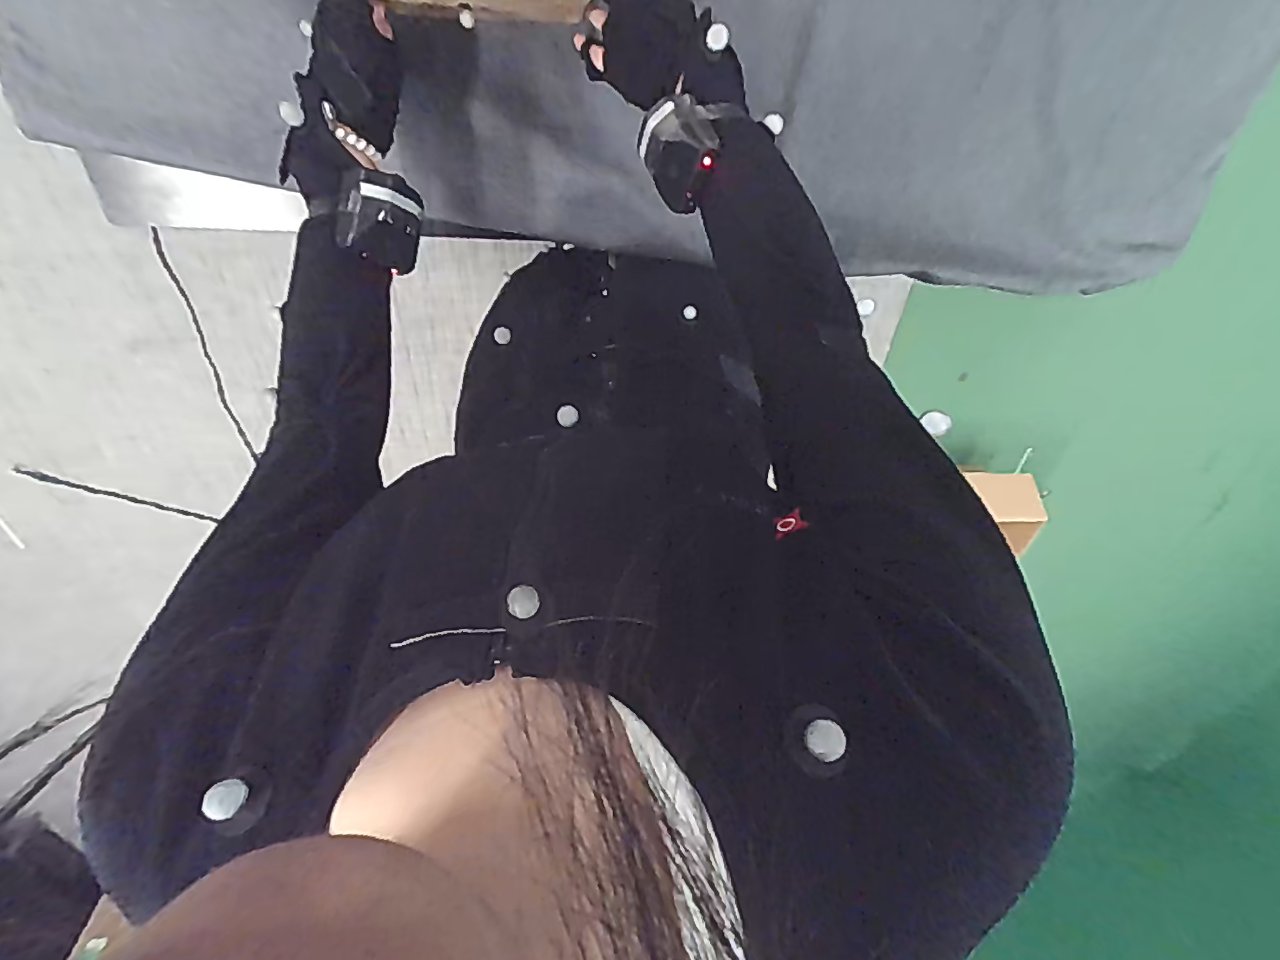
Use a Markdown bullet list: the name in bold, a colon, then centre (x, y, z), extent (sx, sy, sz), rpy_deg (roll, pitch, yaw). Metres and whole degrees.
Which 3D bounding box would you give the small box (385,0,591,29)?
- **small box**: centre (-0.123, -0.440, 0.380), extent (0.168, 0.176, 0.179), rpy_deg (-3, 128, -8)
